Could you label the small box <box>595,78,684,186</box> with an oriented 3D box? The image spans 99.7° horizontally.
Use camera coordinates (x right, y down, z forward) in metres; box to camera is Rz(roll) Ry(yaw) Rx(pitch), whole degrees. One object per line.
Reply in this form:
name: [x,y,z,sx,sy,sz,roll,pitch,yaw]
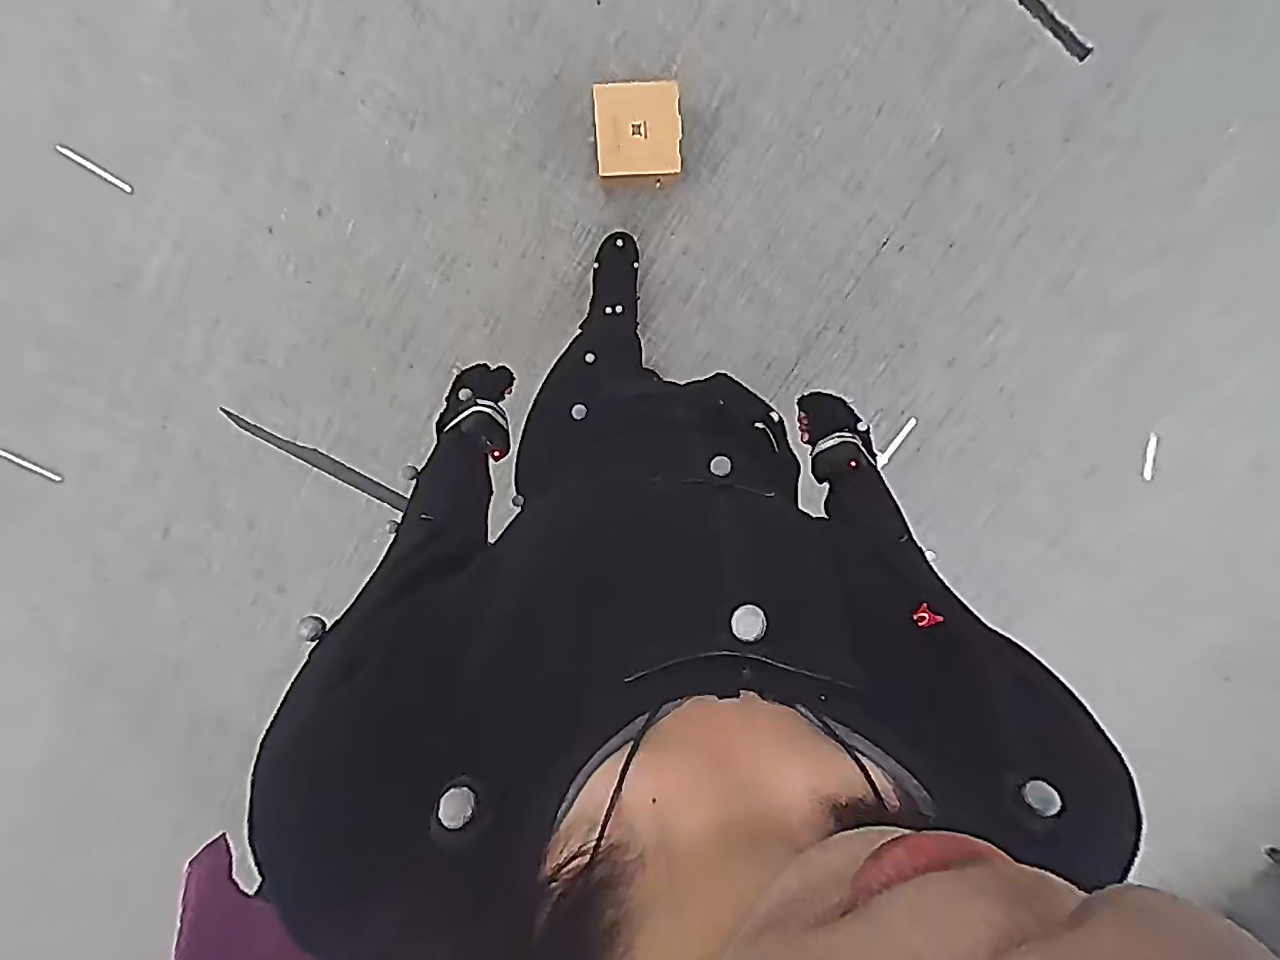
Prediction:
small box: [-0.003,-0.746,1.174,0.179,0.176,0.168,-4,110,-1]
